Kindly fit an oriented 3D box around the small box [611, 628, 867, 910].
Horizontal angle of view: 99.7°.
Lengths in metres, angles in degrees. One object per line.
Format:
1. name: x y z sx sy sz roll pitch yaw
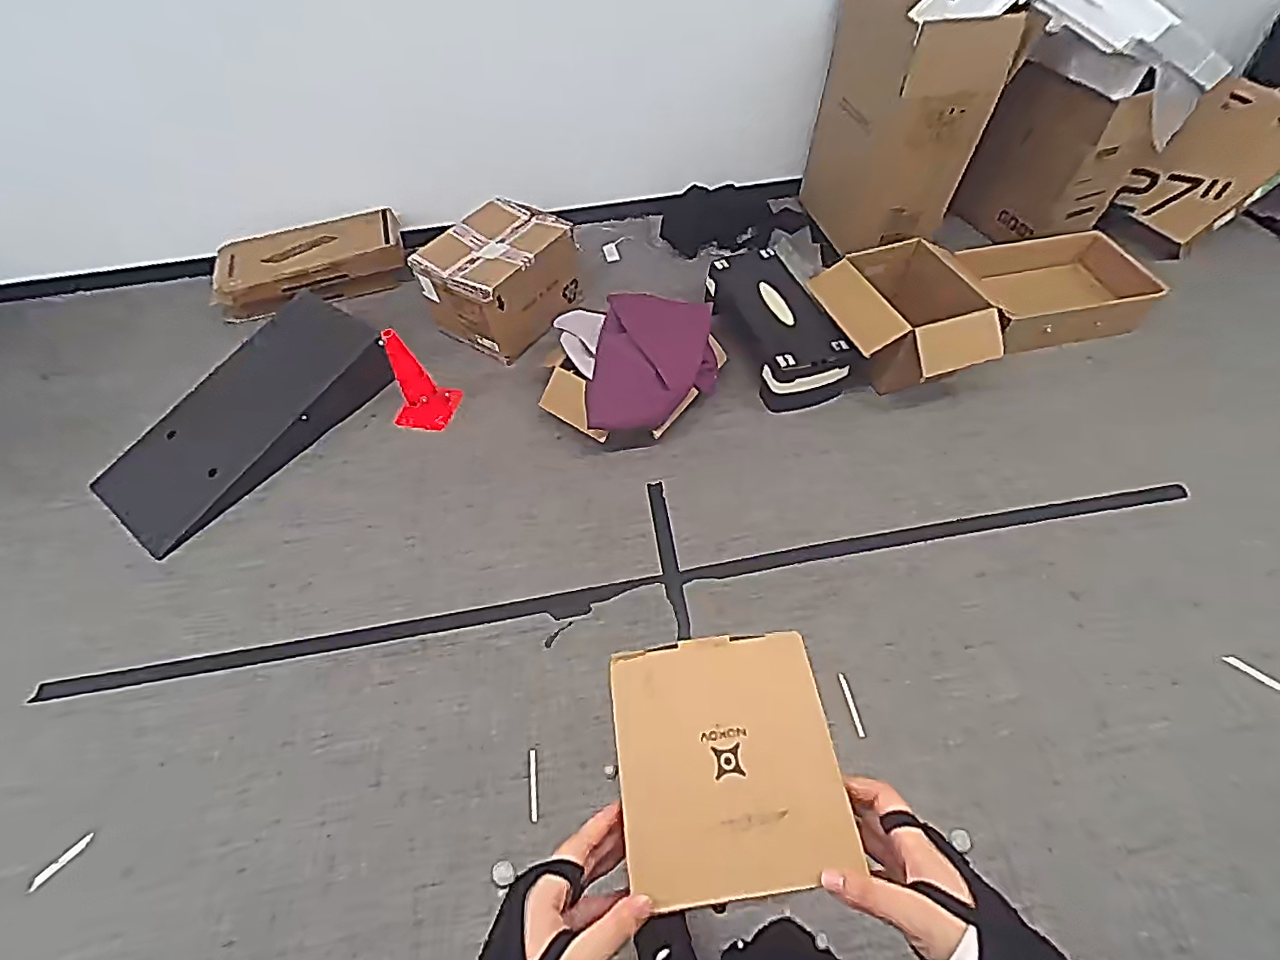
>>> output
1. small box: 0.064 0.248 0.472 0.168 0.176 0.179 -6 58 -3
